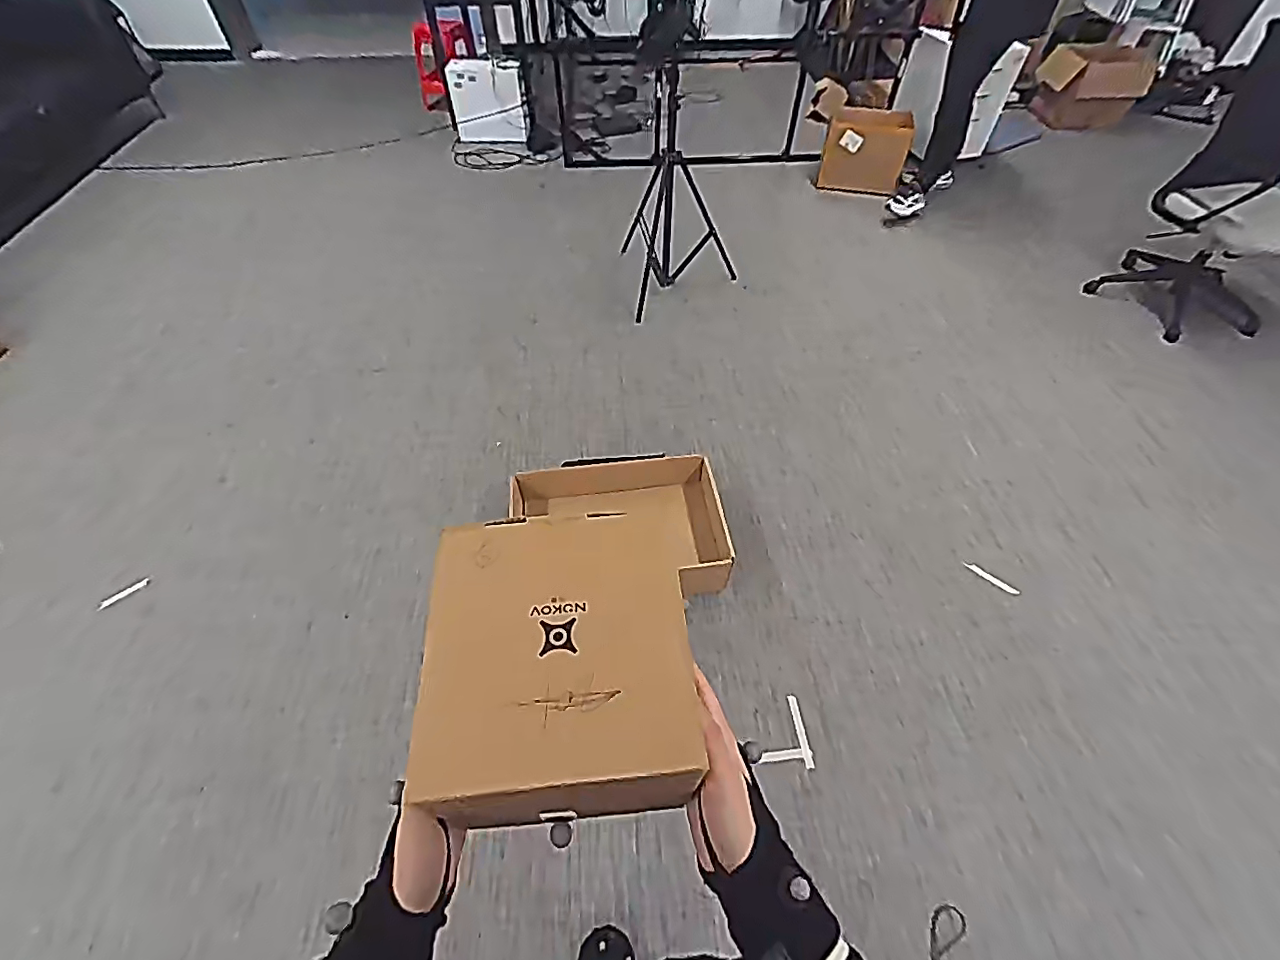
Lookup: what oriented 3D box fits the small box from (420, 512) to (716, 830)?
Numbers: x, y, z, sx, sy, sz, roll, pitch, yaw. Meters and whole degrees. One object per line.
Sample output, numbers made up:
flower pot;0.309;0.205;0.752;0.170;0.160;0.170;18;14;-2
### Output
small box;-0.048;0.147;0.410;0.168;0.176;0.179;-6;53;-4
